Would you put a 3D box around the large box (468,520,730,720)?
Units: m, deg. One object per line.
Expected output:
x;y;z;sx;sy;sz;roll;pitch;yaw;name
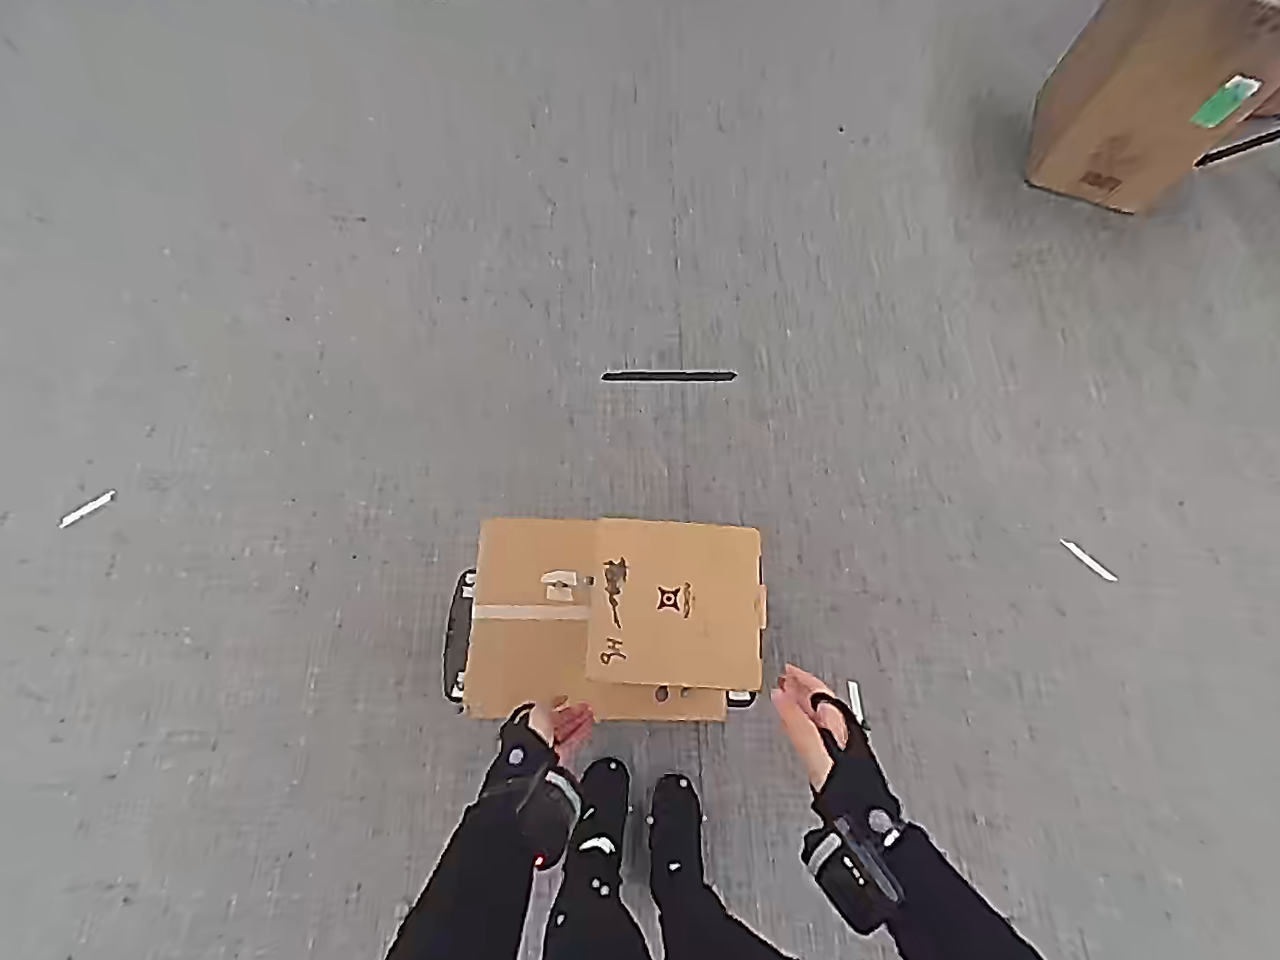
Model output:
-0.064;0.263;1.003;0.408;0.320;0.320;1;69;-1;large box

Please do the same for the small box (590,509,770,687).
0.039;0.142;0.617;0.179;0.176;0.168;5;69;-2;small box
